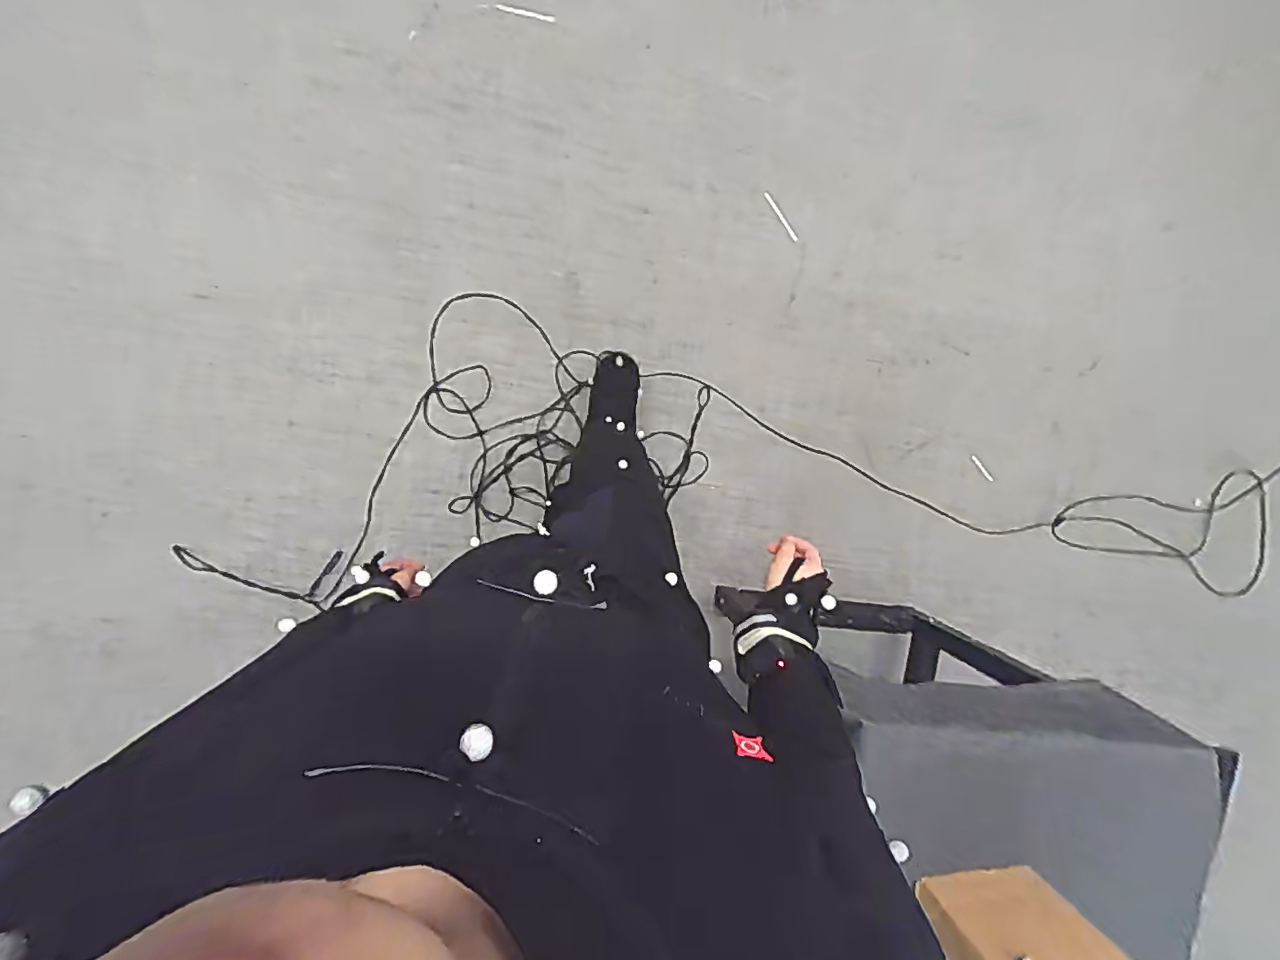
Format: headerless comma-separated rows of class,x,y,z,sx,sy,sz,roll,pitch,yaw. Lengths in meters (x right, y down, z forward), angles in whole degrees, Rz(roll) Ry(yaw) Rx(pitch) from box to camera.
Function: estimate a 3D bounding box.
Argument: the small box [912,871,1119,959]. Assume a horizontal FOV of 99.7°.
small box,0.473,0.628,0.673,0.179,0.176,0.168,0,96,-8
